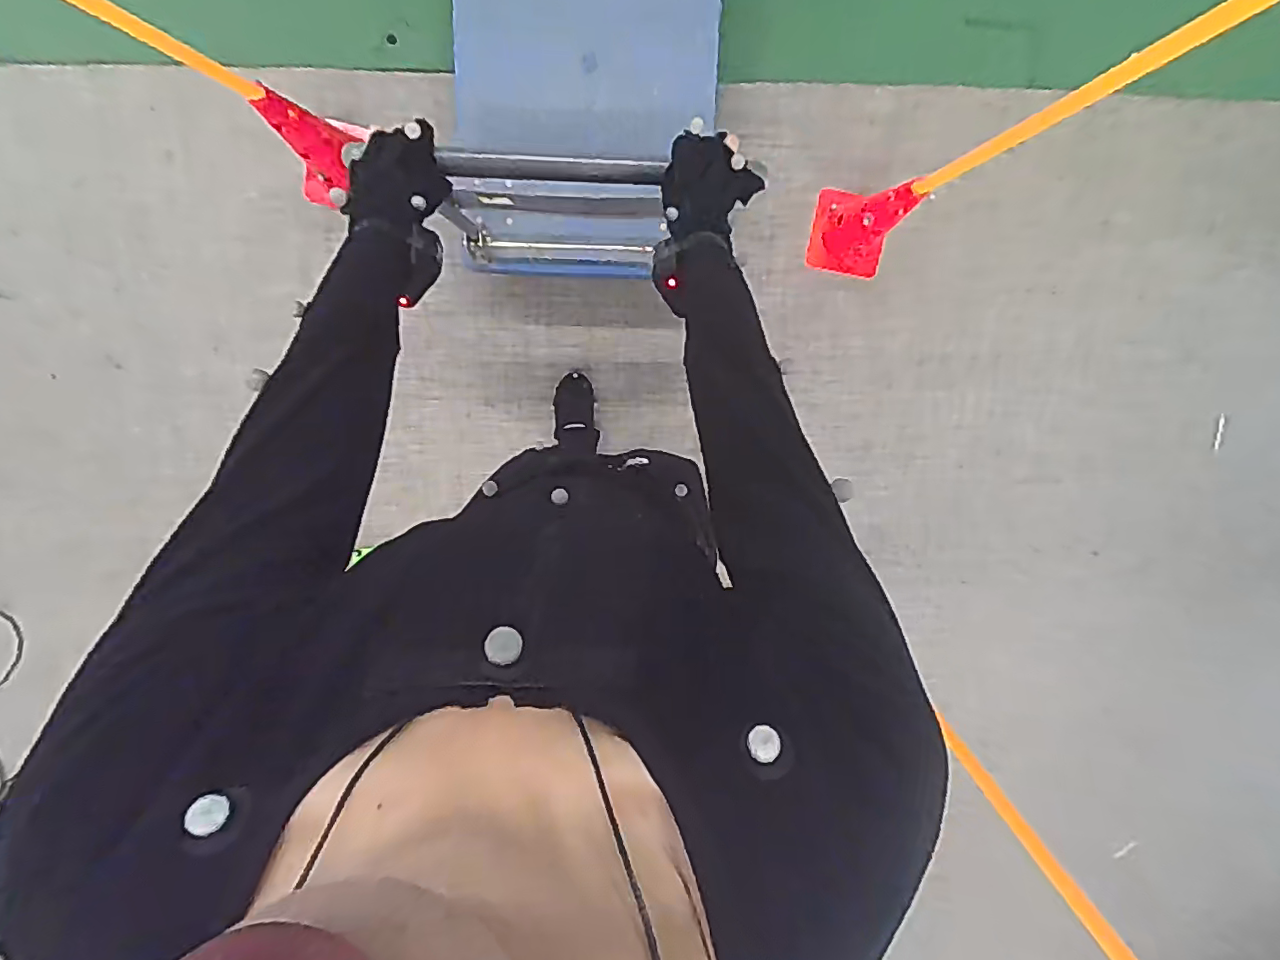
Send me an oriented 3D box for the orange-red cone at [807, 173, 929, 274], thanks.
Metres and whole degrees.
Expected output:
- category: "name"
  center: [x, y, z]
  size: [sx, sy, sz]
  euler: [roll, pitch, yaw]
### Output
- category: "orange-red cone"
  center: [0.557, -0.626, 1.251]
  size: [0.198, 0.360, 0.199]
  euler: [11, 101, -4]
